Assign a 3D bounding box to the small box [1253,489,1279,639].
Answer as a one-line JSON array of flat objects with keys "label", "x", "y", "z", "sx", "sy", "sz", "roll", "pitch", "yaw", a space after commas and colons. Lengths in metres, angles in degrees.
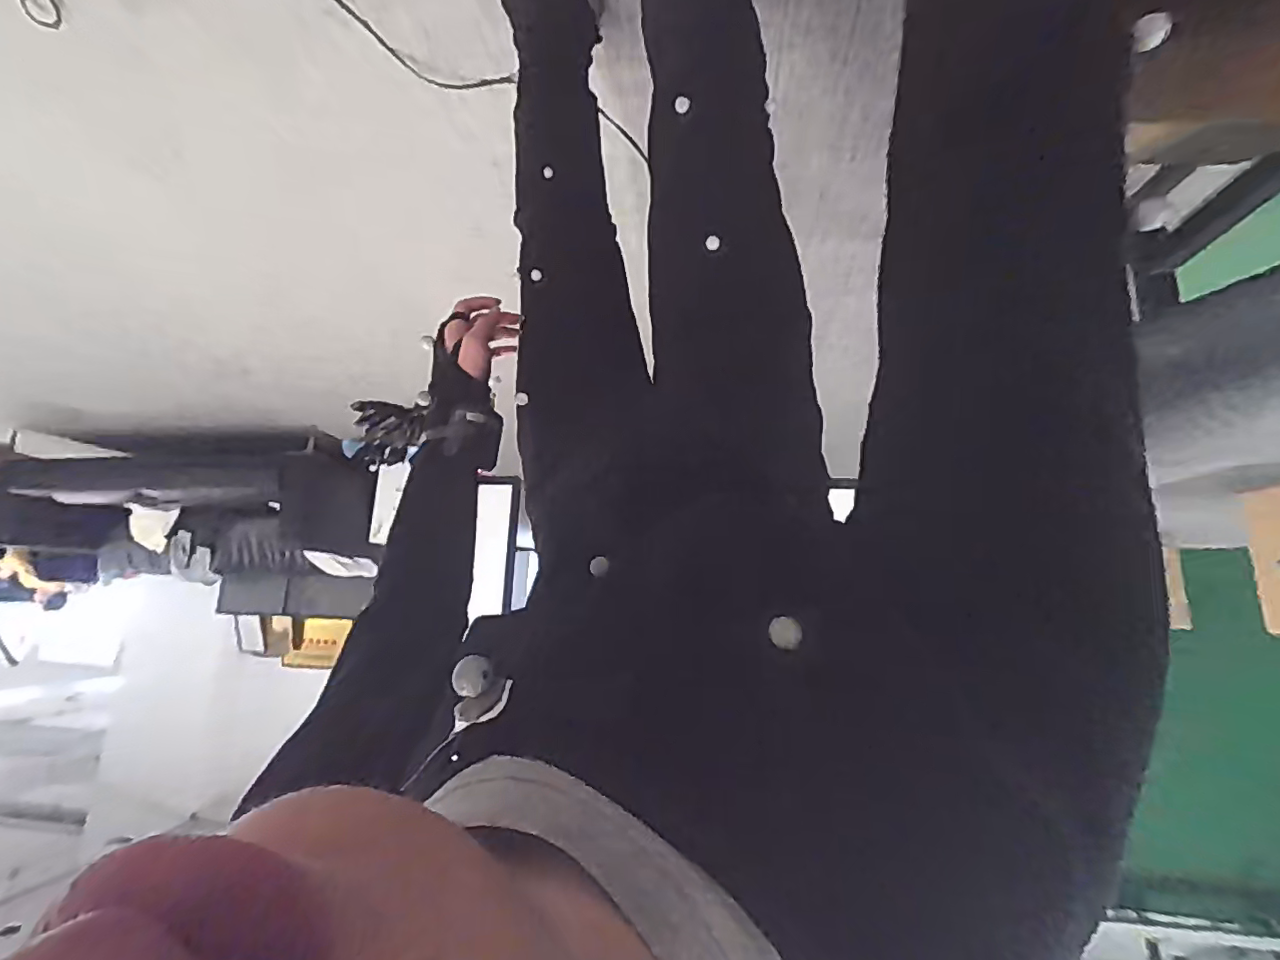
[{"label": "small box", "x": 0.783, "y": 0.079, "z": 0.536, "sx": 0.168, "sy": 0.176, "sz": 0.179, "roll": 0, "pitch": 166, "yaw": 6}]
